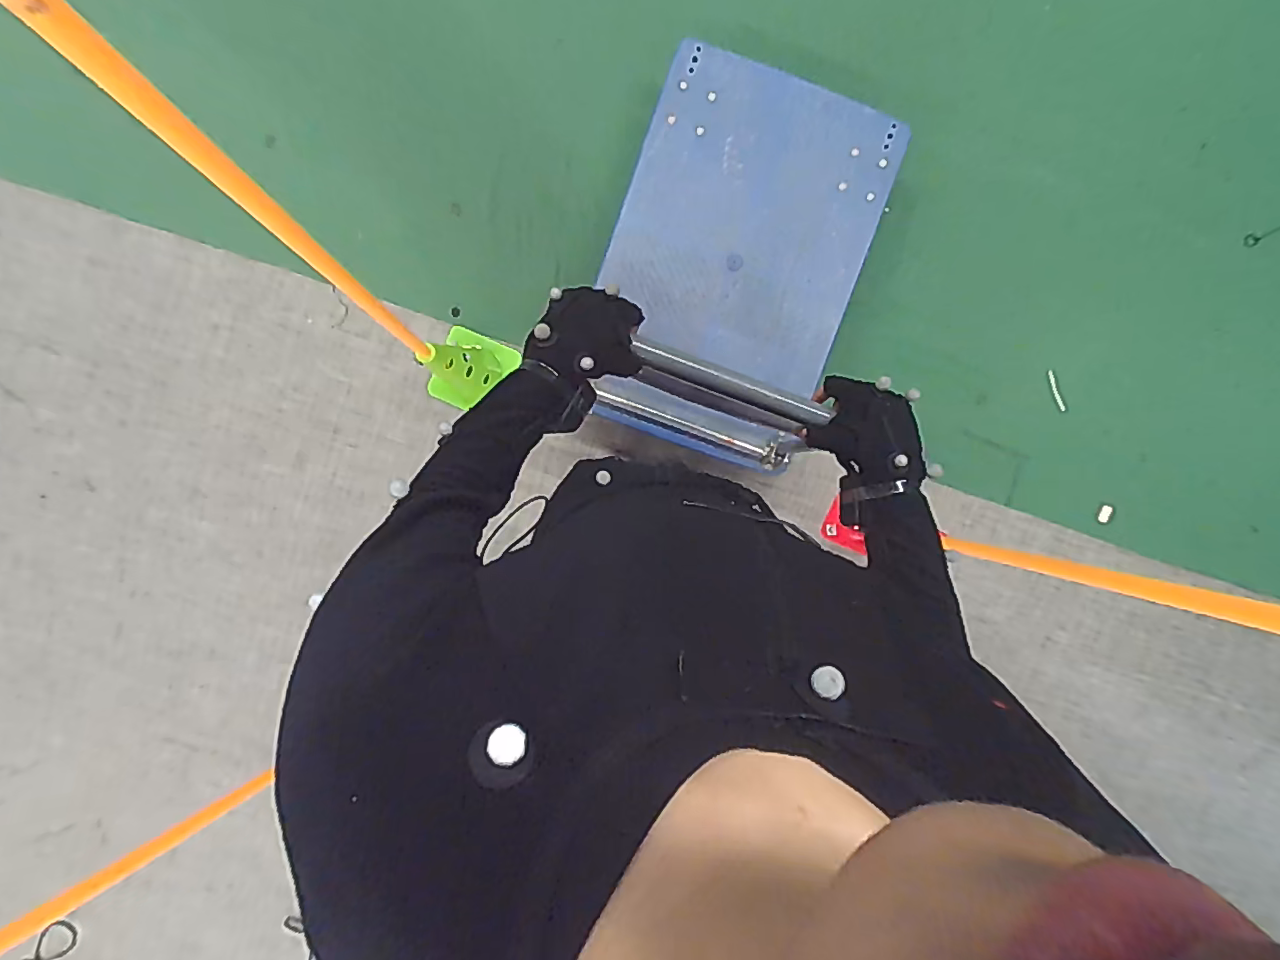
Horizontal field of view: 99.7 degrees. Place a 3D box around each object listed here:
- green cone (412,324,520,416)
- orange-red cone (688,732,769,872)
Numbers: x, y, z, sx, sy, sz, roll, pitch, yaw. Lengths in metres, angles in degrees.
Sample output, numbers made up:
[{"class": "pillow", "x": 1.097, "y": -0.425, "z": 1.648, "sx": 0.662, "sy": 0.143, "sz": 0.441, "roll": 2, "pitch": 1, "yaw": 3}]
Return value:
[{"class": "green cone", "x": -0.437, "y": -0.282, "z": 1.268, "sx": 0.202, "sy": 0.368, "sz": 0.200, "roll": 23, "pitch": 93, "yaw": -2}, {"class": "orange-red cone", "x": 0.252, "y": 0.840, "z": 1.368, "sx": 0.199, "sy": 0.360, "sz": 0.198, "roll": 18, "pitch": 93, "yaw": -1}]
